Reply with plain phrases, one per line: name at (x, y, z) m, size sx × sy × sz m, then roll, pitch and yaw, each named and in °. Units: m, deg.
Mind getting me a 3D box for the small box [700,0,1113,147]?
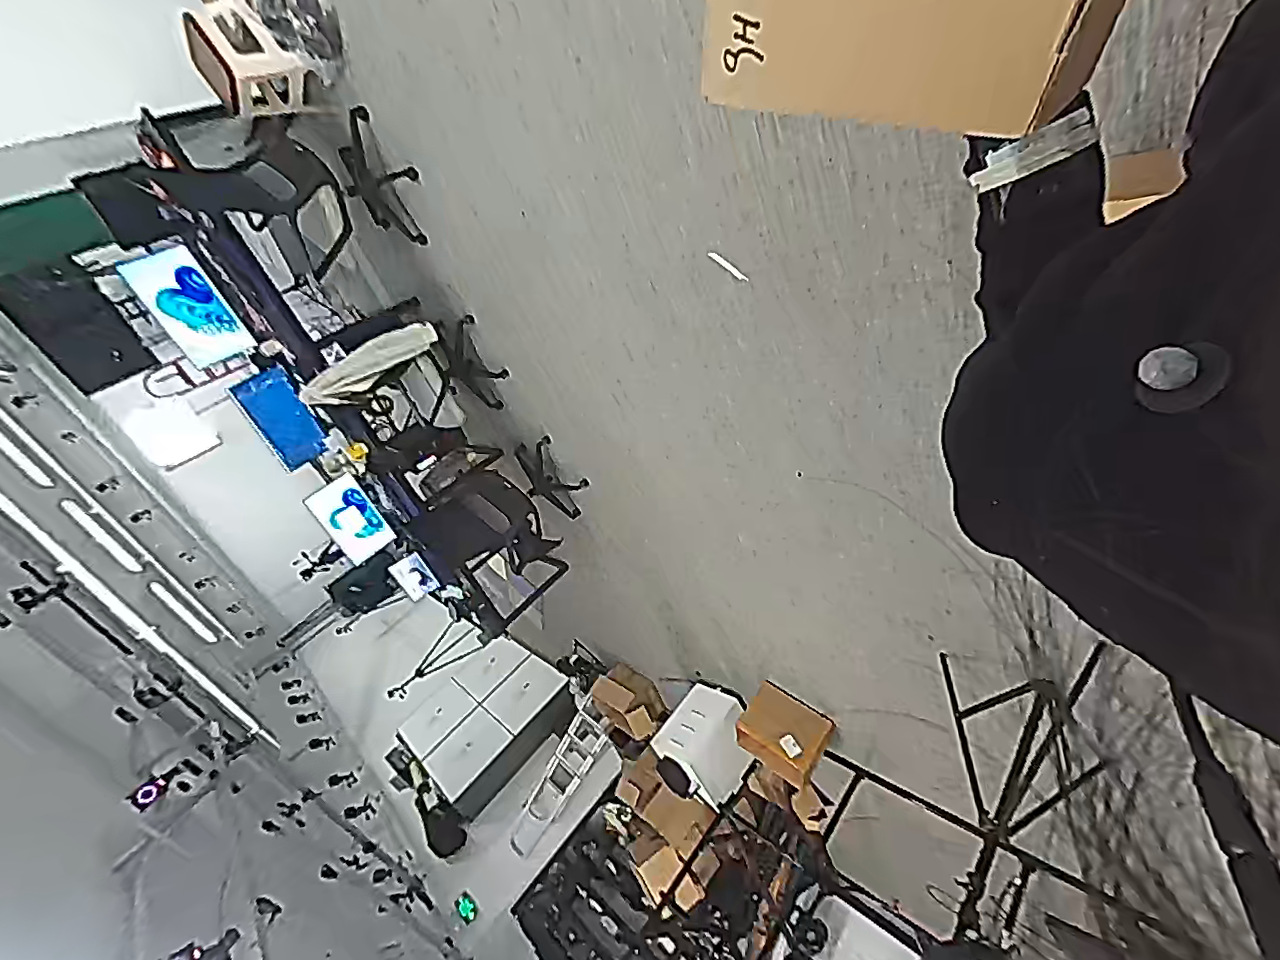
small box at (0.150, -0.287, 0.269) m, size 0.179 × 0.176 × 0.168 m, roll 27°, pitch 141°, yaw 27°
